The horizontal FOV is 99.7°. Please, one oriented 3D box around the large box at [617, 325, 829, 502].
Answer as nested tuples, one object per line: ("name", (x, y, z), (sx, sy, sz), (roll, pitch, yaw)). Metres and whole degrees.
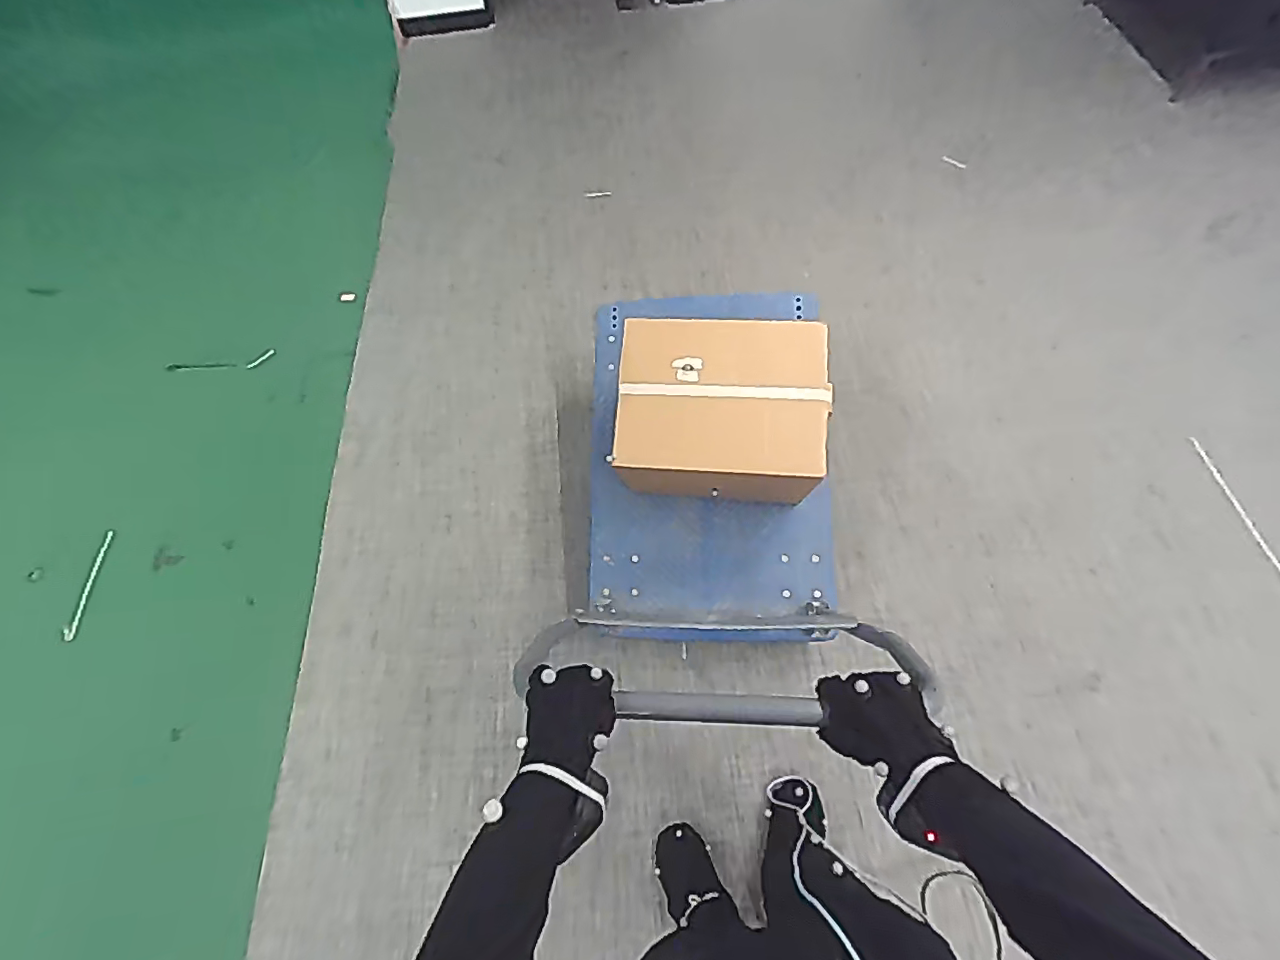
("large box", (0.182, -0.127, 1.192), (0.408, 0.320, 0.320), (2, 78, 9))
